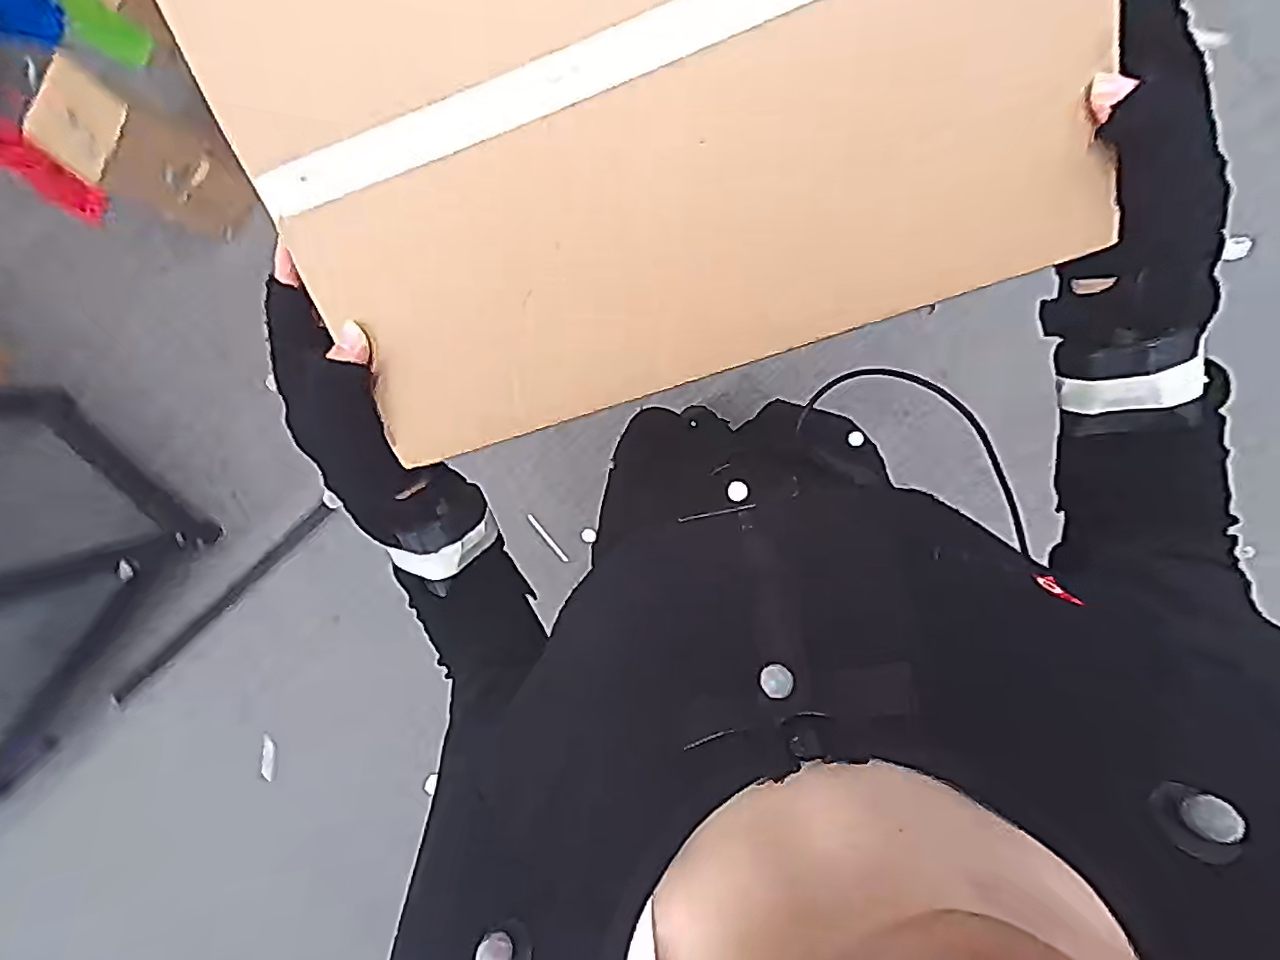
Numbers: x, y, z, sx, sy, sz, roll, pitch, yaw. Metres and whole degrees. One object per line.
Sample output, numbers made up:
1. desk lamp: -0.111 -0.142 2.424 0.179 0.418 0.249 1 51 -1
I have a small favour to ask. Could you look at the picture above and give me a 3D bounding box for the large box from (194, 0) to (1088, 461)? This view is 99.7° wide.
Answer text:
1. large box: 0.009 -0.257 0.400 0.408 0.320 0.320 -16 110 8
